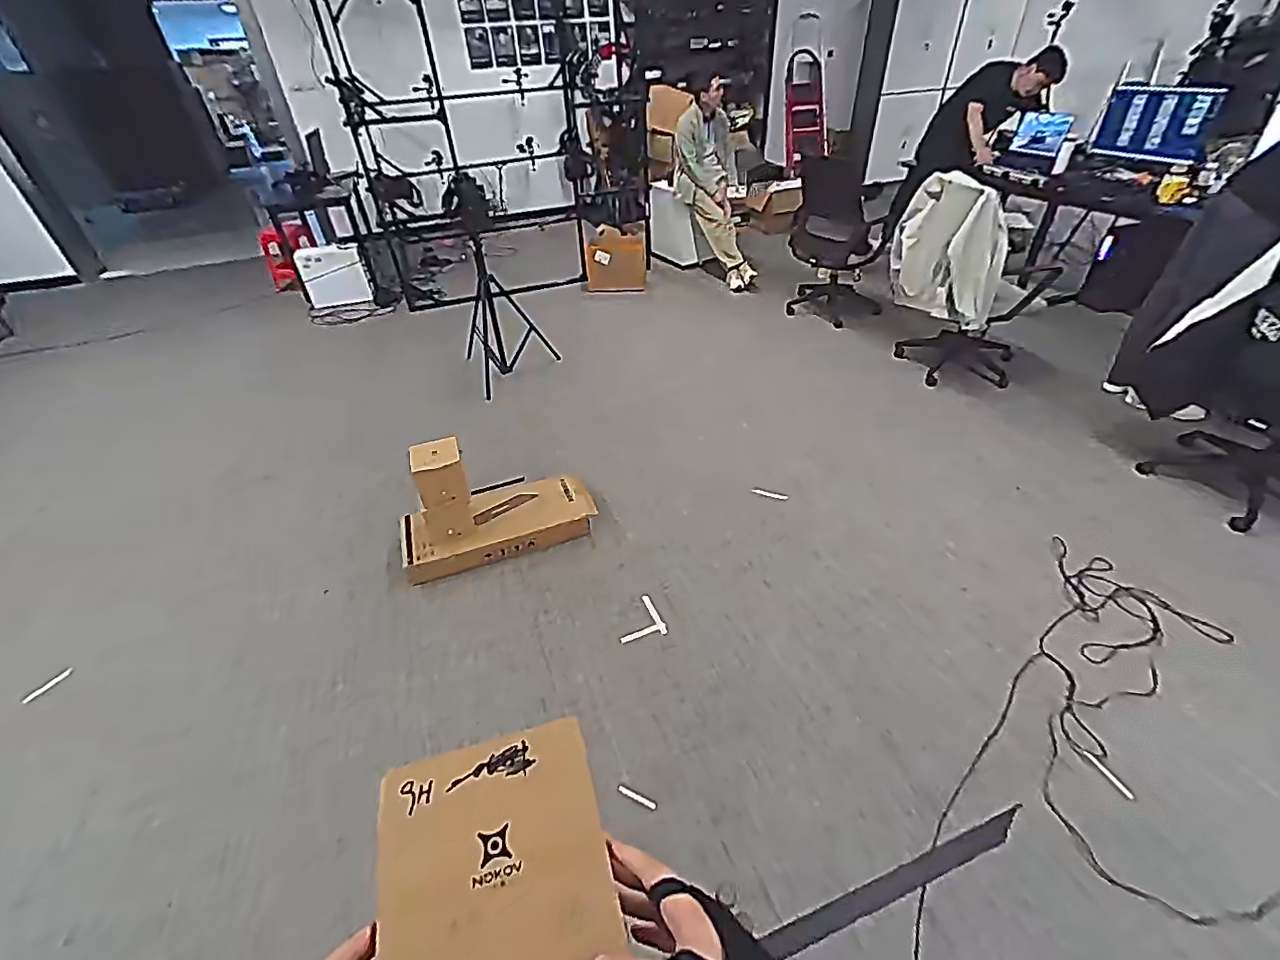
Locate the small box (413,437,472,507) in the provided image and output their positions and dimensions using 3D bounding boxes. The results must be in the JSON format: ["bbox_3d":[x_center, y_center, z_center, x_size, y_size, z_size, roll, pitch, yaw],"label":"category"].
[{"bbox_3d":[-0.719,-0.027,1.969,0.168,0.176,0.179,-15,40,-14],"label":"small box"}]

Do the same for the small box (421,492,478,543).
[{"bbox_3d":[-0.727,0.111,2.062,0.168,0.176,0.179,-16,41,-16],"label":"small box"}]
